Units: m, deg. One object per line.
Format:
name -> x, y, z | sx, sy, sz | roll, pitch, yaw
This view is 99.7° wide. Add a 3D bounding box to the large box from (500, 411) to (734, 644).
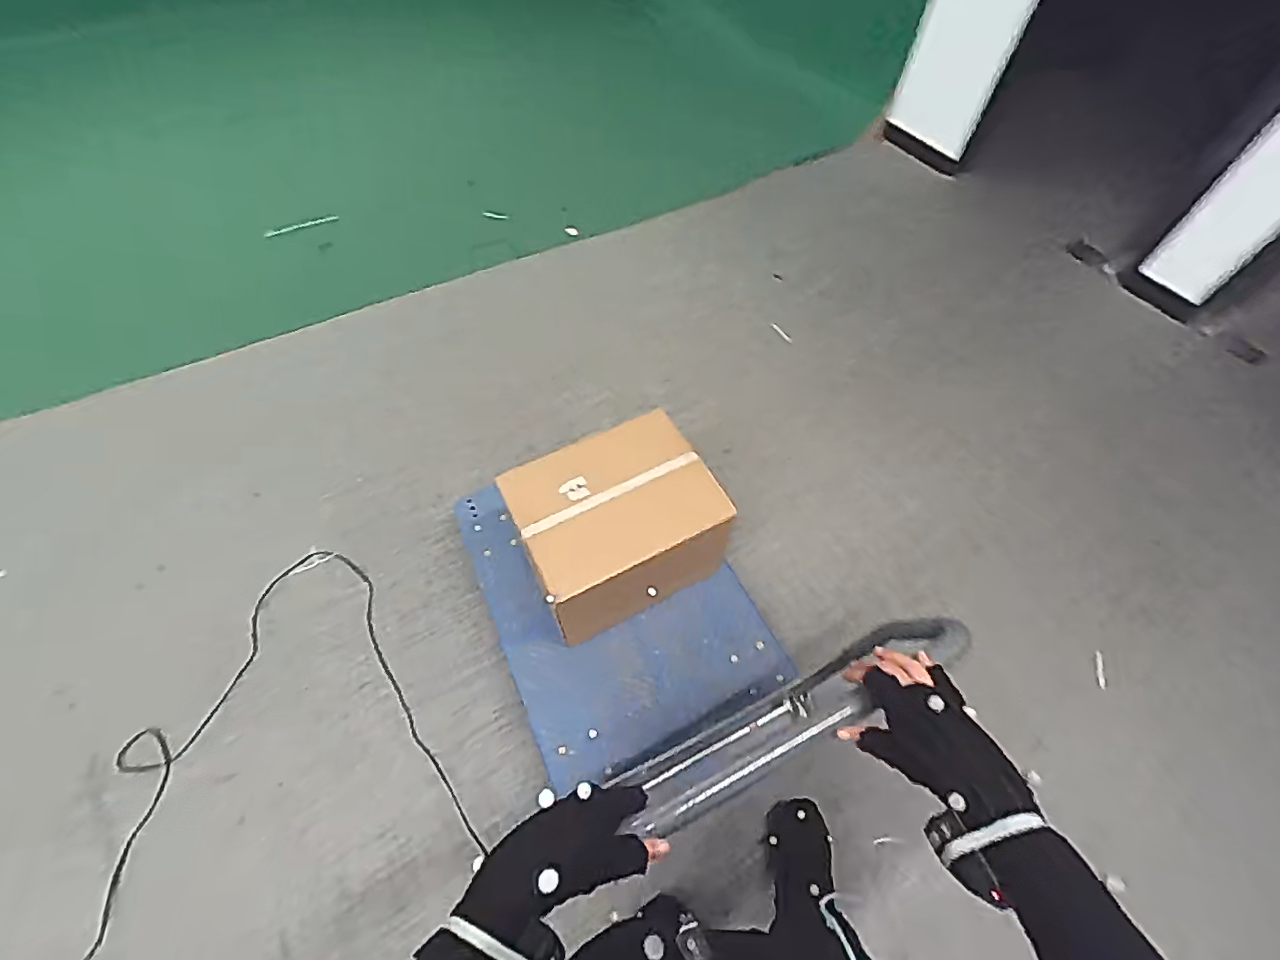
large box -> -0.050, 0.113, 1.239 | 0.408, 0.320, 0.320 | -25, 61, -14
